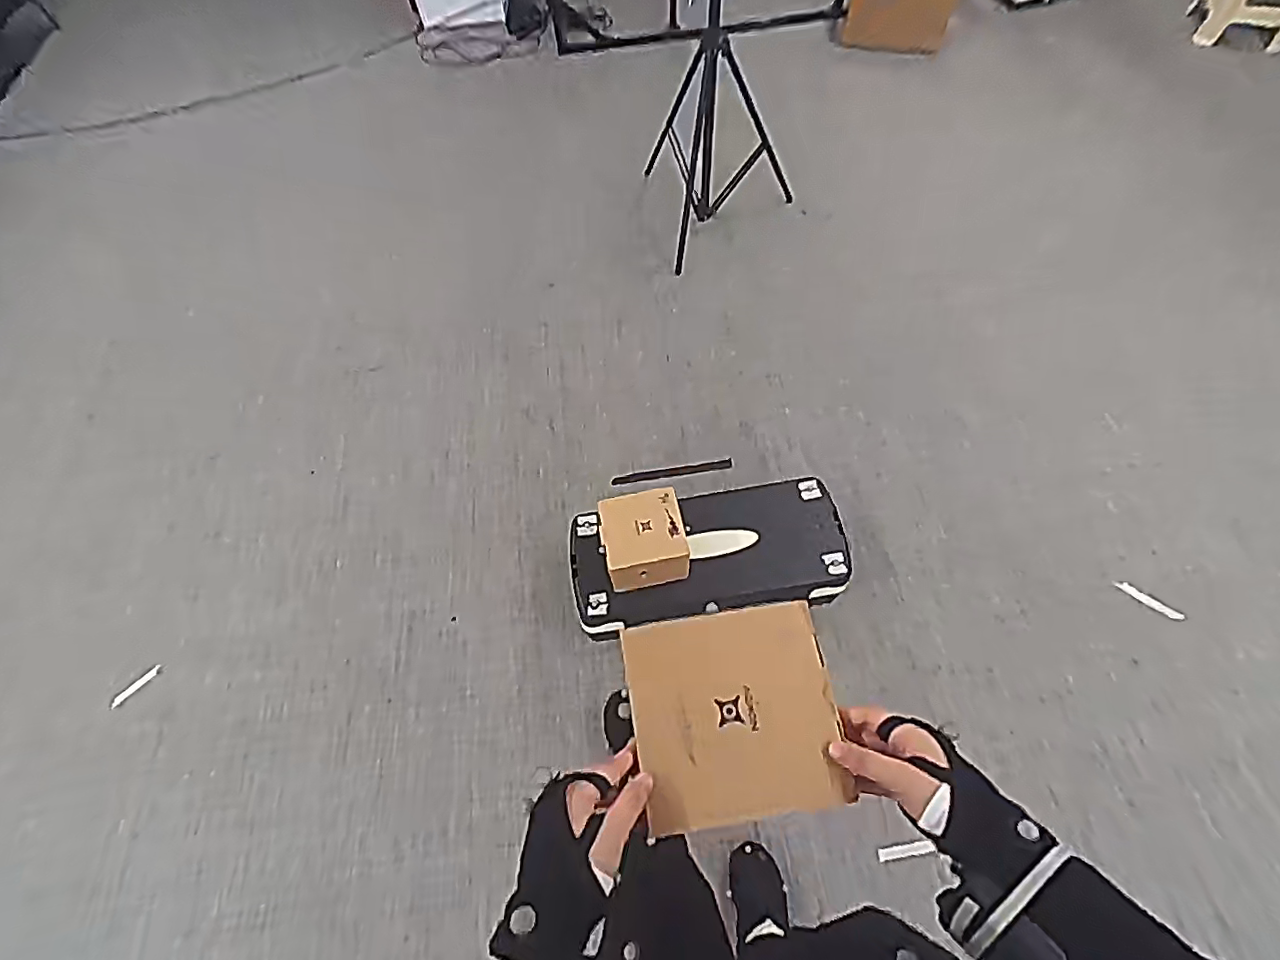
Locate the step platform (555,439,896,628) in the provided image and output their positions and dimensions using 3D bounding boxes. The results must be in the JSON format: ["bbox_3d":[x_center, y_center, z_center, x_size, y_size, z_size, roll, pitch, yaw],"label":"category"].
[{"bbox_3d":[0.169,0.124,1.187,0.684,0.204,0.286,-9,62,-1],"label":"step platform"}]

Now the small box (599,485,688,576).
[{"bbox_3d":[0.009,0.135,1.232,0.179,0.176,0.168,-12,63,-2],"label":"small box"}]

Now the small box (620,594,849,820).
[{"bbox_3d":[0.080,0.222,0.548,0.179,0.176,0.168,-9,67,-2],"label":"small box"}]
